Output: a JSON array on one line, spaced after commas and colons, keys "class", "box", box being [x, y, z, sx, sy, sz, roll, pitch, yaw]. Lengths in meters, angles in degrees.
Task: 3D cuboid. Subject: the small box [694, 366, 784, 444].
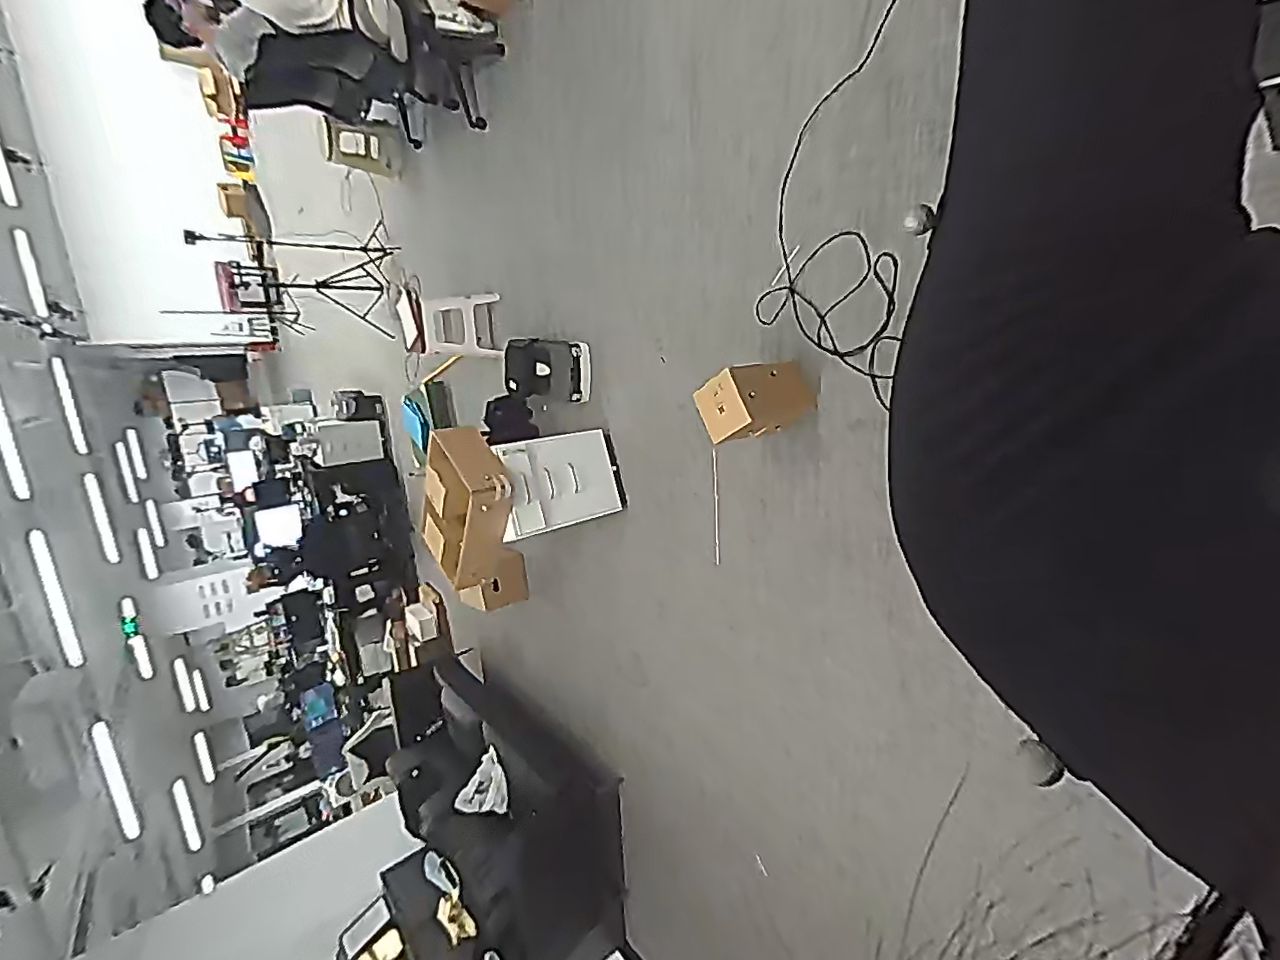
[{"class": "small box", "box": [0.300, -0.229, 1.624, 0.168, 0.176, 0.179, -34, 74, 50]}]

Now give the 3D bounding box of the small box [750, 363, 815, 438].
[{"class": "small box", "box": [0.424, -0.257, 1.729, 0.168, 0.176, 0.179, -42, 68, 48]}]
